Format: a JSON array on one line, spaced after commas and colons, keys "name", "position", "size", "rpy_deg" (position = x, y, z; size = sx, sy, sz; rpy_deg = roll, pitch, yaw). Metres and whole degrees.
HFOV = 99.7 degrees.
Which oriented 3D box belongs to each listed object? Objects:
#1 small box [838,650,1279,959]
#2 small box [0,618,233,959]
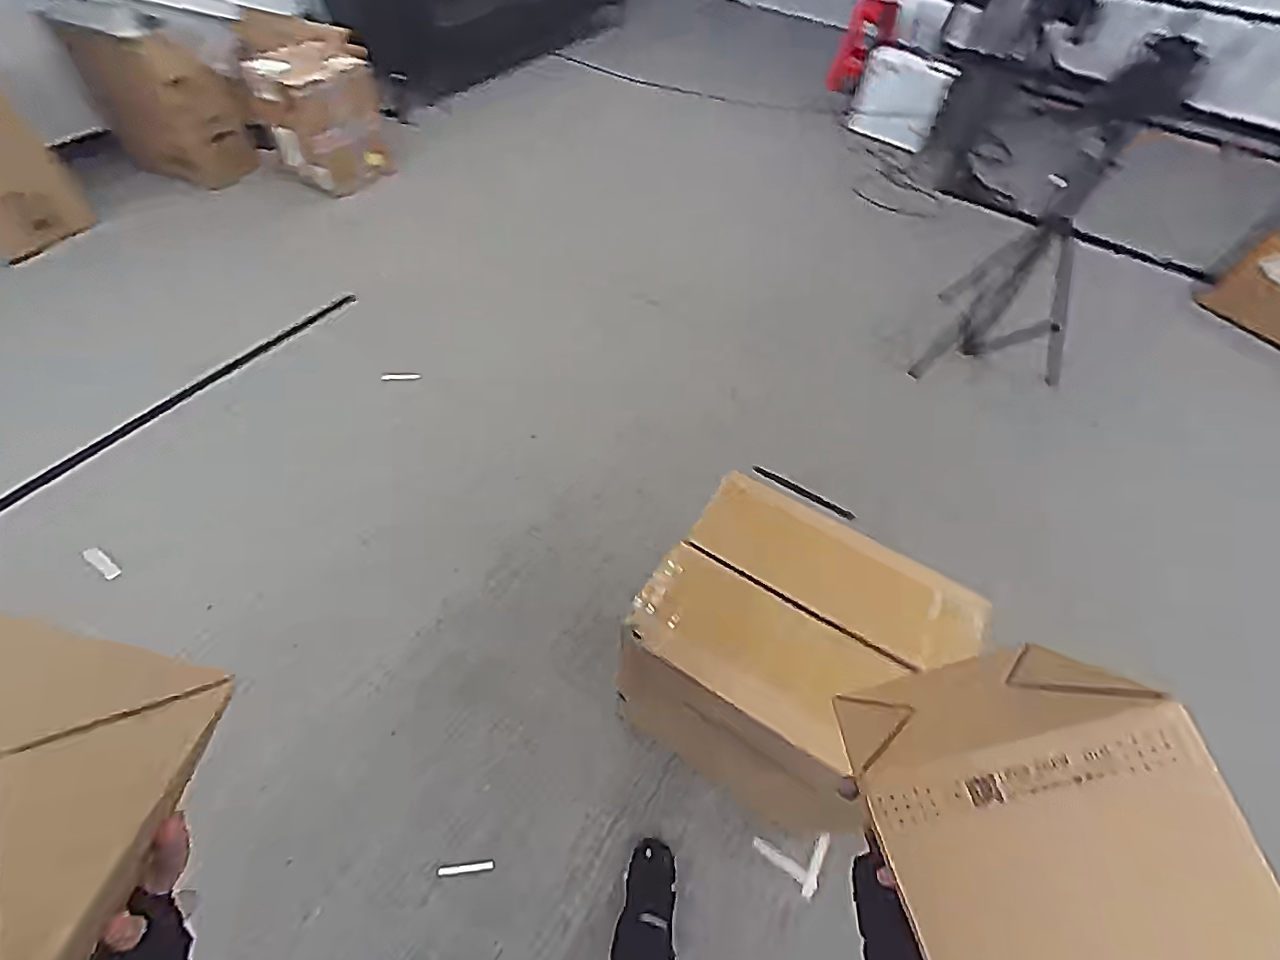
[{"name": "small box", "position": [0.240, 0.219, 0.345], "size": [0.168, 0.179, 0.176], "rpy_deg": [-22, 77, 13]}, {"name": "small box", "position": [-0.278, 0.150, 0.173], "size": [0.168, 0.179, 0.176], "rpy_deg": [26, 89, -21]}]
